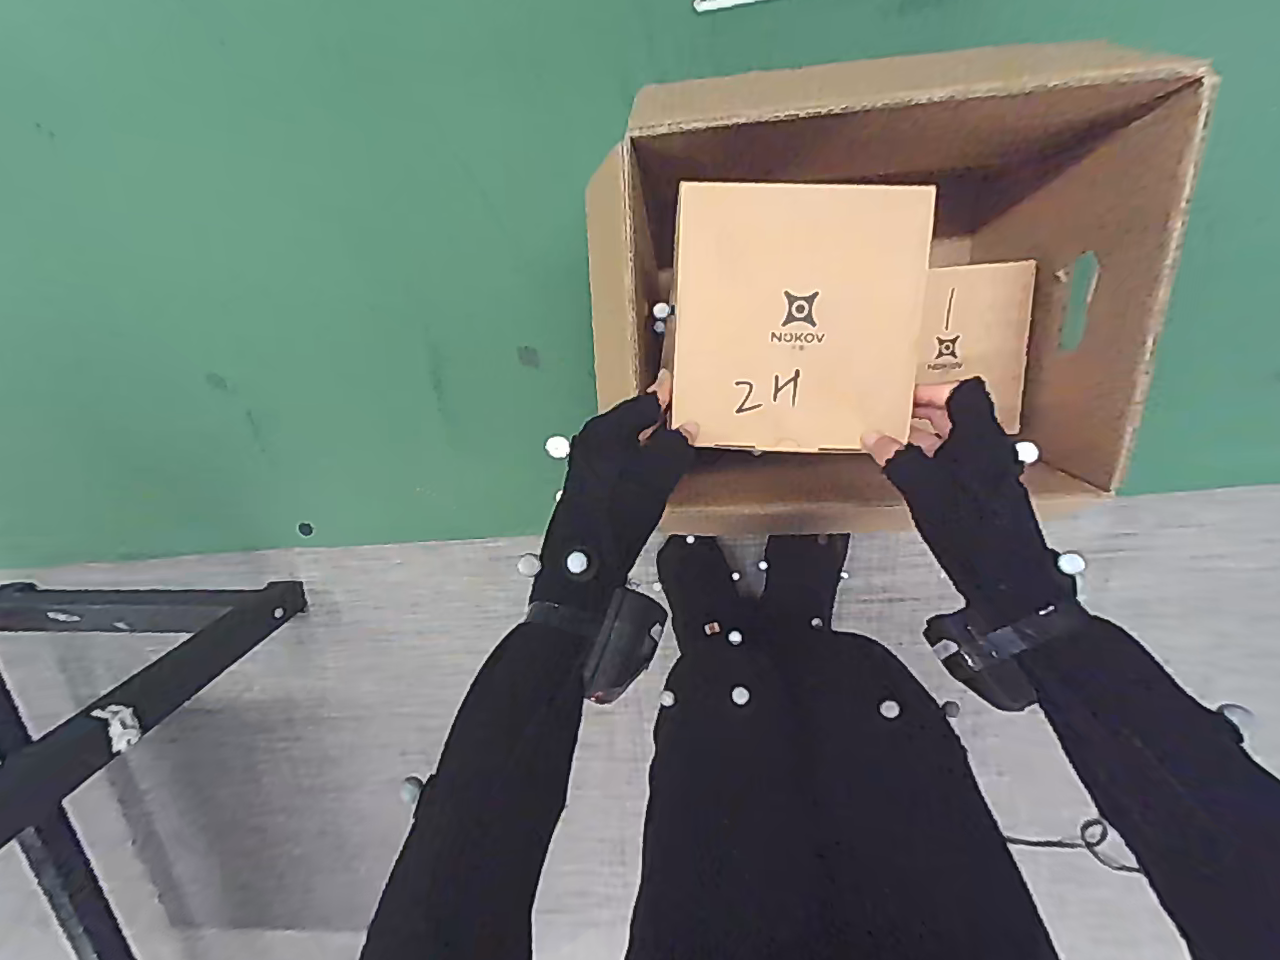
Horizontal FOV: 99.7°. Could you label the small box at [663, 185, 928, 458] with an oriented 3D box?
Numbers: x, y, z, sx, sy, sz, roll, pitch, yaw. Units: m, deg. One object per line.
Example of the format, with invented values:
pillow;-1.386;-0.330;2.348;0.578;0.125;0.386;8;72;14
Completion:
small box;0.106;-0.118;0.446;0.168;0.176;0.179;3;100;2
